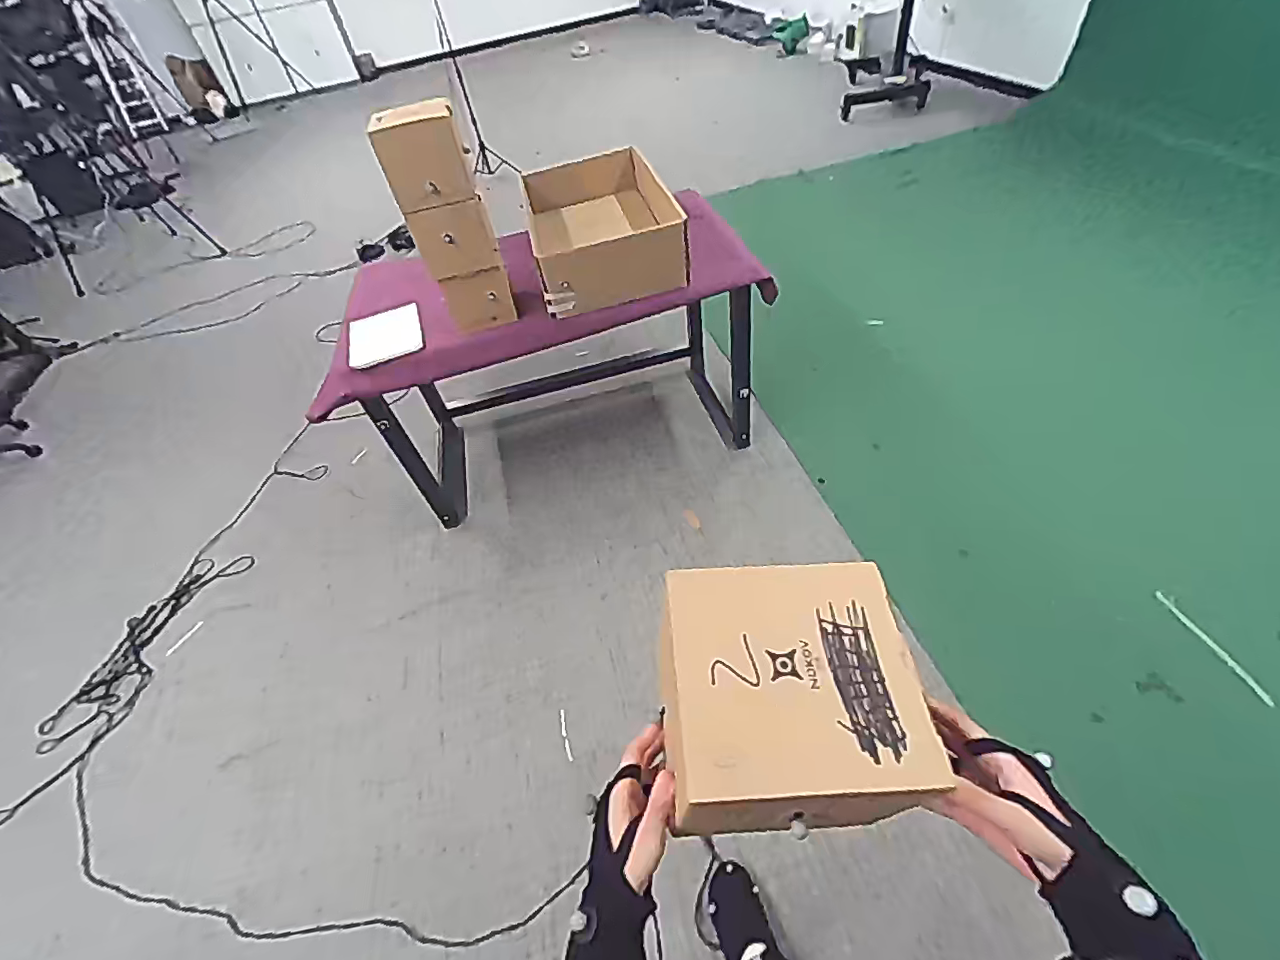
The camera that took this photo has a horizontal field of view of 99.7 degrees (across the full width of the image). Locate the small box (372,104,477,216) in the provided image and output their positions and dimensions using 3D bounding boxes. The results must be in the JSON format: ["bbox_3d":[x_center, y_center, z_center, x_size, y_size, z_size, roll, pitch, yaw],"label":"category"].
[{"bbox_3d":[-0.482,-0.733,1.242,0.179,0.176,0.168,-14,46,-4],"label":"small box"}]

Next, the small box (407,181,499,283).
[{"bbox_3d":[-0.460,-0.623,1.362,0.179,0.176,0.168,-15,46,-3],"label":"small box"}]

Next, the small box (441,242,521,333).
[{"bbox_3d":[-0.434,-0.523,1.489,0.168,0.176,0.179,-14,46,-3],"label":"small box"}]
